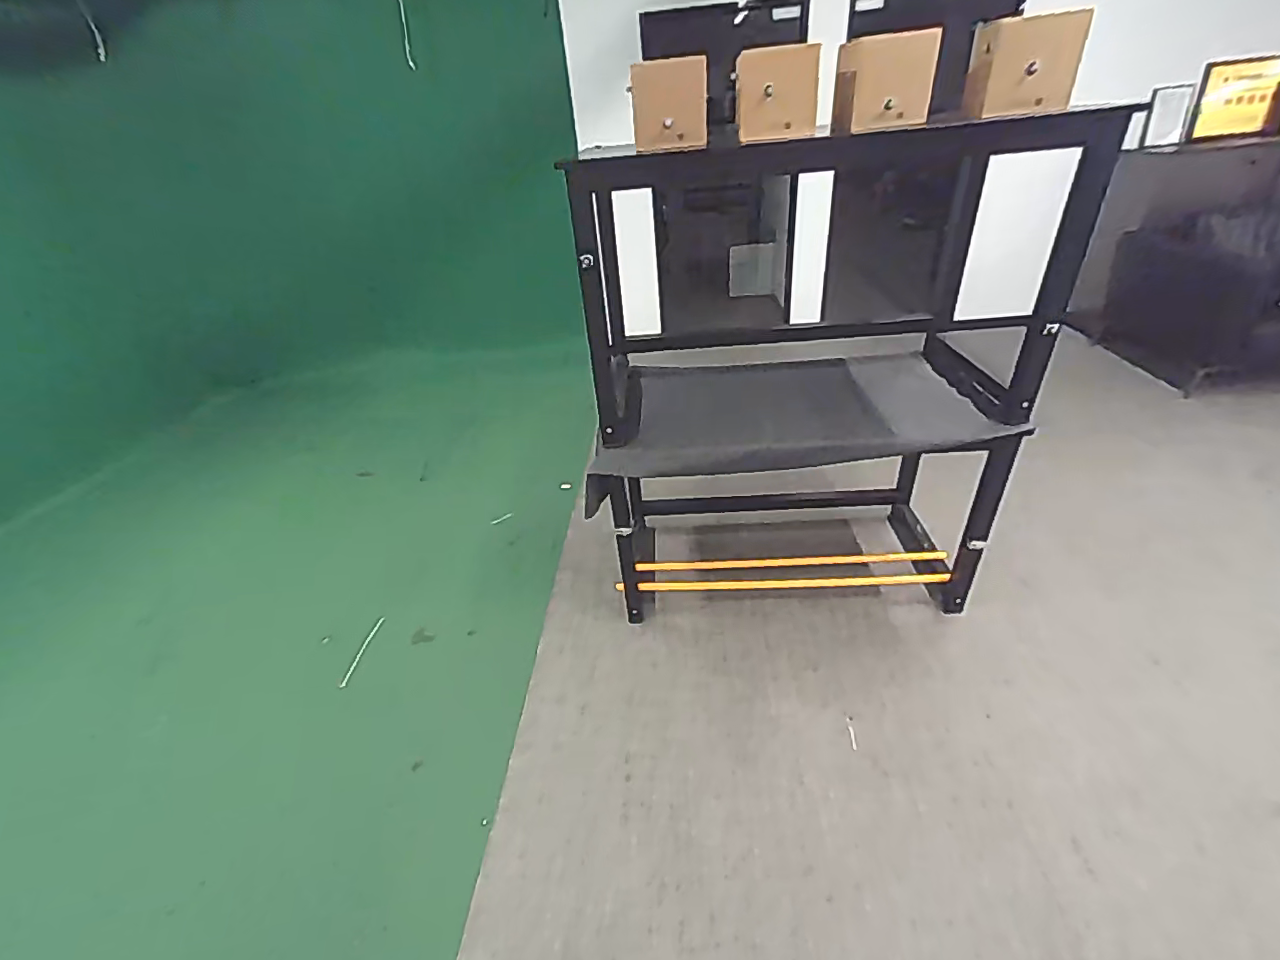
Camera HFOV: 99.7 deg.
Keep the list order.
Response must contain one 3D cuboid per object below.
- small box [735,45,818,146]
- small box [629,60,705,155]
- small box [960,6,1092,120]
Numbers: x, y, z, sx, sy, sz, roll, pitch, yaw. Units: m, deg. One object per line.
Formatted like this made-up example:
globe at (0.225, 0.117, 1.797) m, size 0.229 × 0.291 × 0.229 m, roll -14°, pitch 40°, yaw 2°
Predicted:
small box at (0.307, -0.875, 1.243) m, size 0.168 × 0.176 × 0.179 m, roll -2°, pitch 33°, yaw 7°
small box at (0.064, -0.876, 1.282) m, size 0.168 × 0.176 × 0.179 m, roll -5°, pitch 34°, yaw 2°
small box at (0.817, -0.887, 1.165) m, size 0.168 × 0.176 × 0.179 m, roll 3°, pitch 34°, yaw 13°
